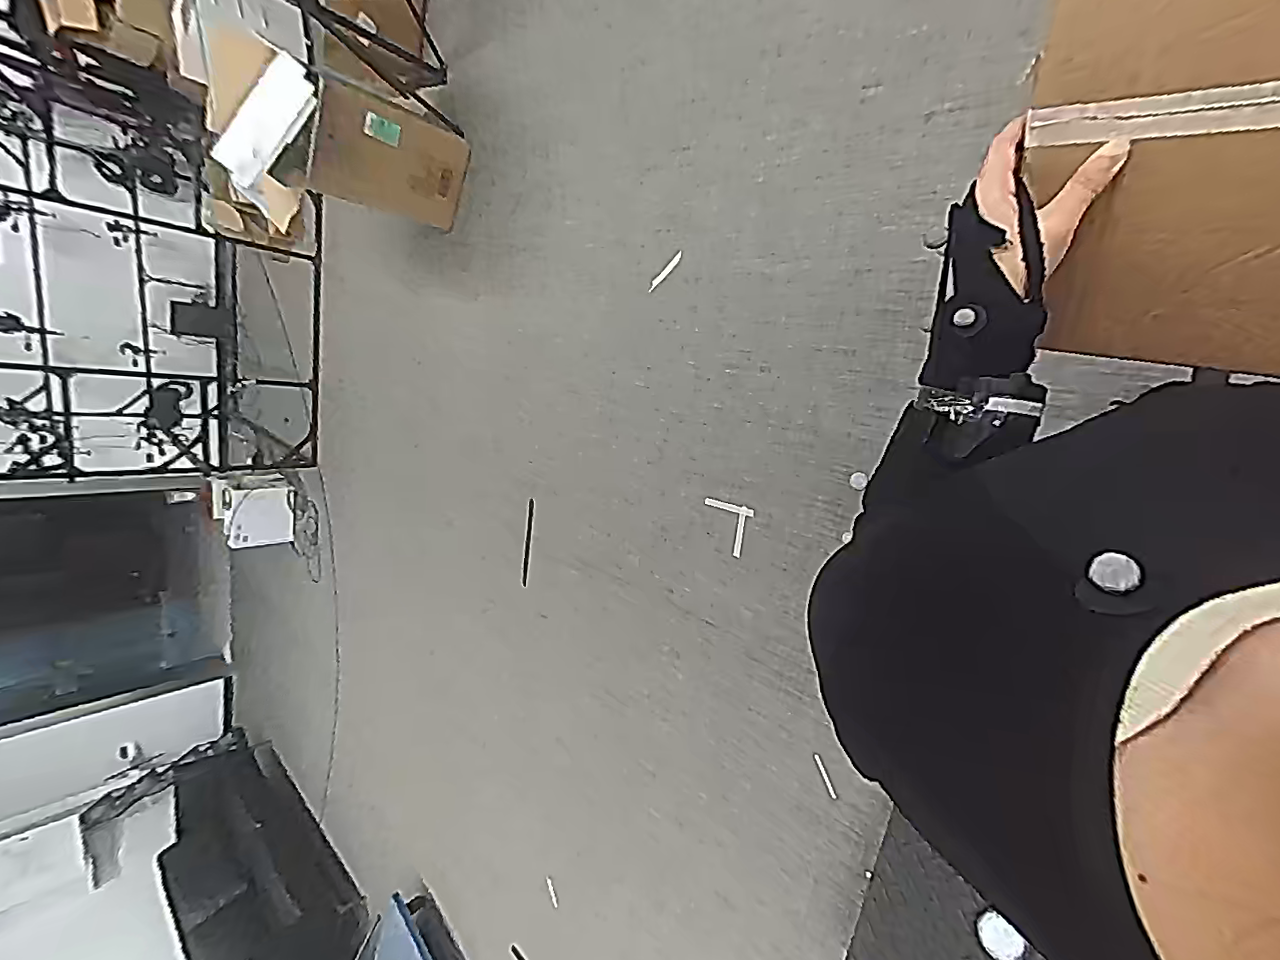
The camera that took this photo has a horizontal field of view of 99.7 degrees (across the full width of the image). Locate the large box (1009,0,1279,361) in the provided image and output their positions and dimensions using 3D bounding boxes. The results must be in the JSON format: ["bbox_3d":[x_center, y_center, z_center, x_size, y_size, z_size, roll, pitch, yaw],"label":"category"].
[{"bbox_3d":[0.495,-0.269,0.293,0.408,0.320,0.320,21,144,39],"label":"large box"}]
